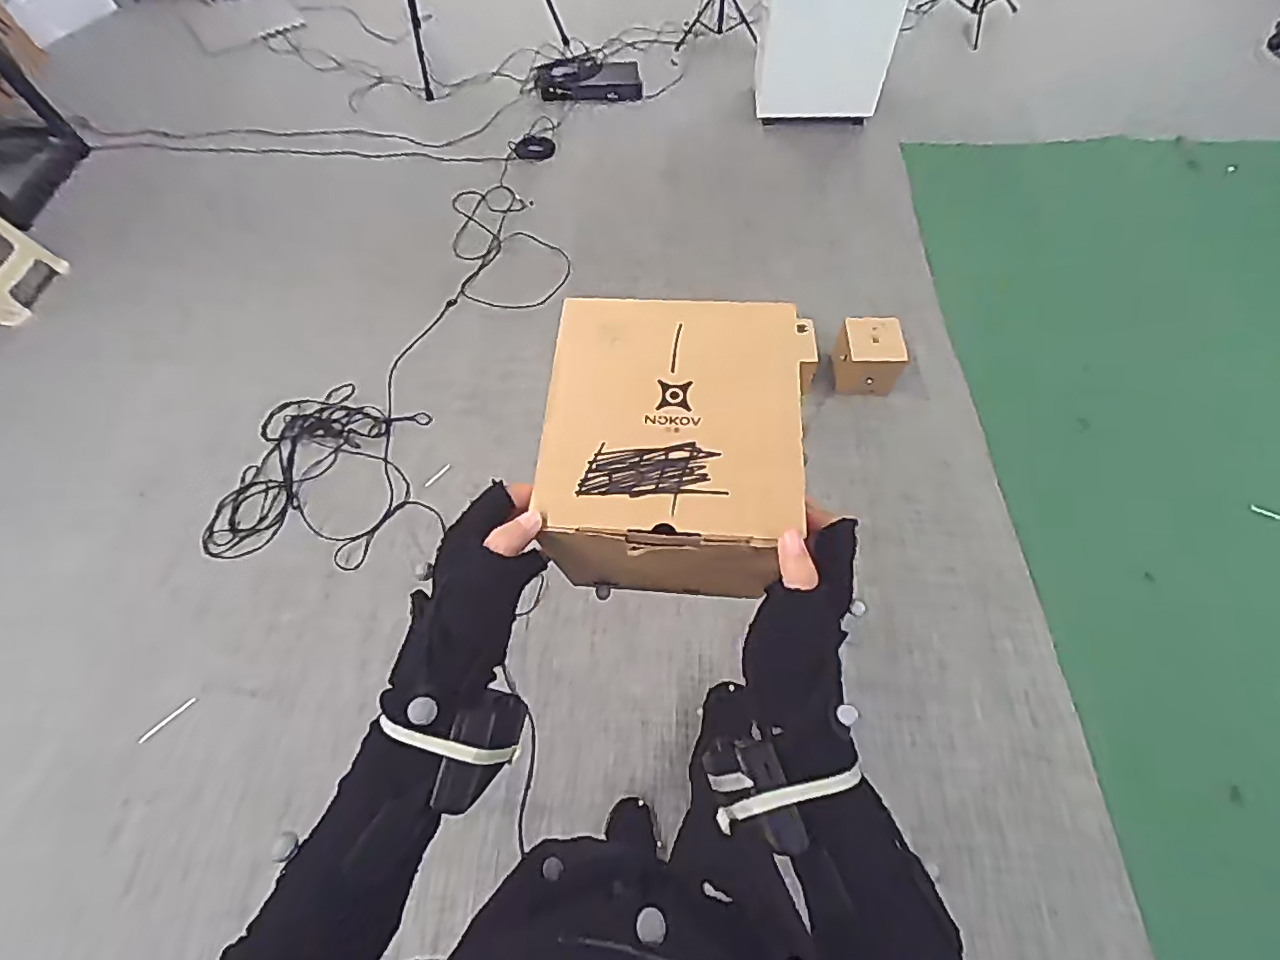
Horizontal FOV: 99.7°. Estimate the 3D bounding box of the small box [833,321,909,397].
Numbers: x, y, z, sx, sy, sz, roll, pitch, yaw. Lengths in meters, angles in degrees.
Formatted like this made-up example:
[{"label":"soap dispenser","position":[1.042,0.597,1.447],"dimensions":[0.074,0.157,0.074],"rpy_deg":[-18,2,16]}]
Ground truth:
[{"label":"small box","position":[0.719,-0.378,1.701],"dimensions":[0.168,0.176,0.179],"rpy_deg":[1,61,3]}]
